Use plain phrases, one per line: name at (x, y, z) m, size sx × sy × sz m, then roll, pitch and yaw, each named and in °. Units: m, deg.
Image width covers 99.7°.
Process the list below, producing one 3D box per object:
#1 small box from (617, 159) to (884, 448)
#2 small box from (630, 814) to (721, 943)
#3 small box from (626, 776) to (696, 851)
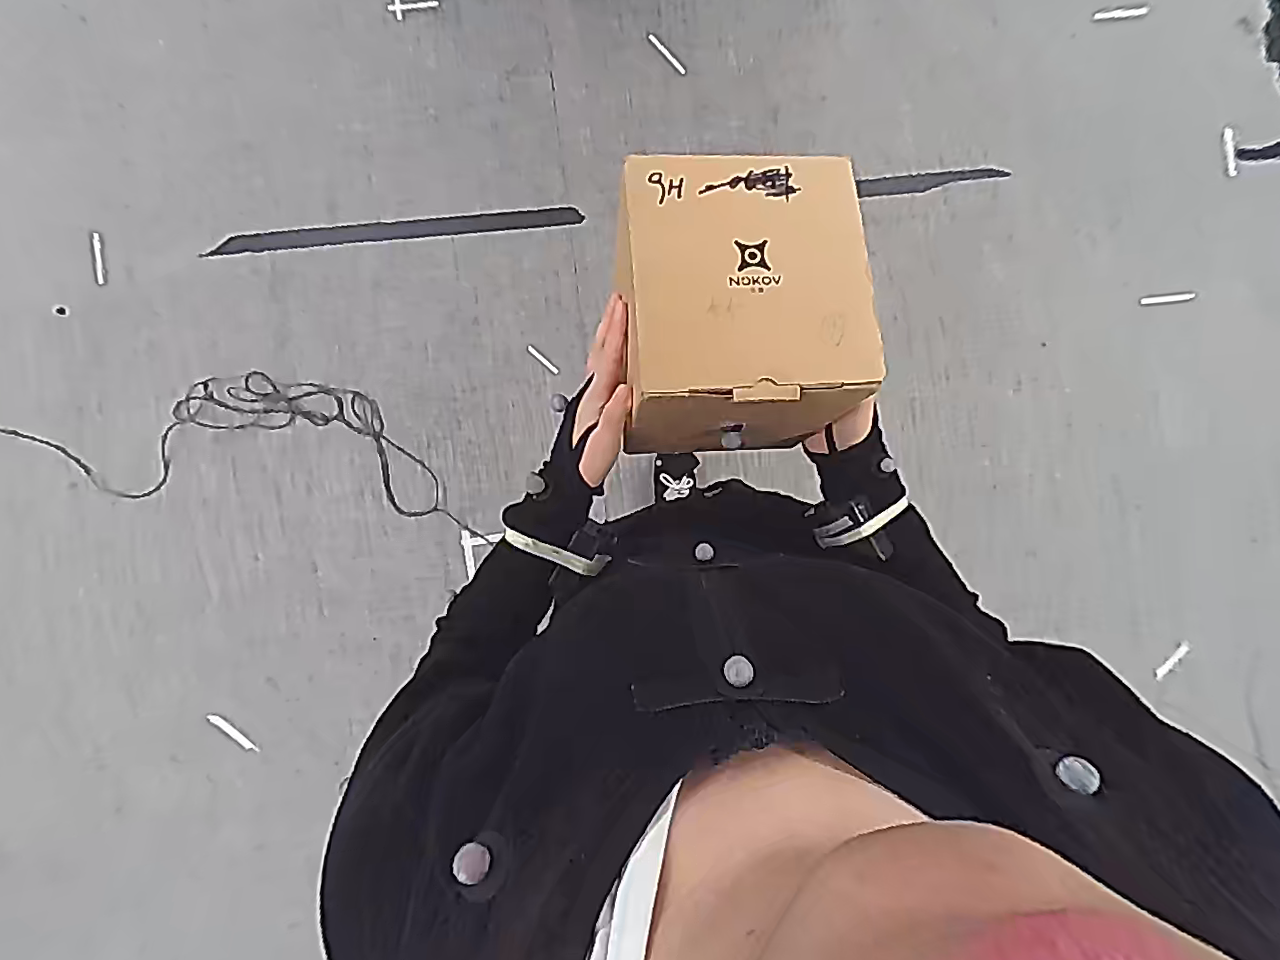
small box at (0.070, -0.125, 0.443) m, size 0.168 × 0.176 × 0.179 m, roll -3°, pitch 81°, yaw -6°
small box at (0.076, 0.909, 1.253) m, size 0.179 × 0.176 × 0.168 m, roll -9°, pitch 90°, yaw -2°
small box at (0.064, 0.913, 1.417) m, size 0.179 × 0.176 × 0.168 m, roll -11°, pitch 90°, yaw -2°
